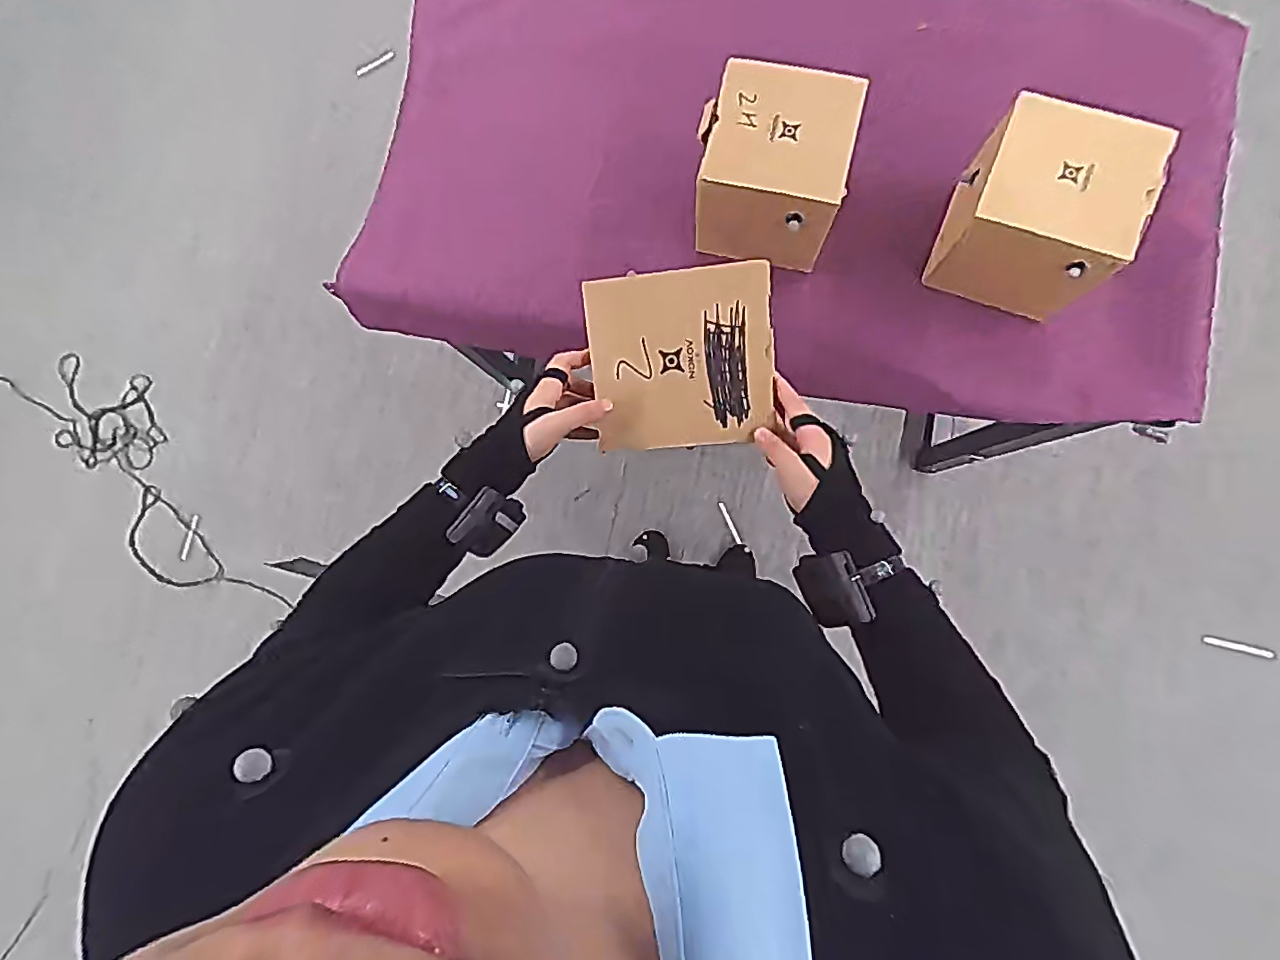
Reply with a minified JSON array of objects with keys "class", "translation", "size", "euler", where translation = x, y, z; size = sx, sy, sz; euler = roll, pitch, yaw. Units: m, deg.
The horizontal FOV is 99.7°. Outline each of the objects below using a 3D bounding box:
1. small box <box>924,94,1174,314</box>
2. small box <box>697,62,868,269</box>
[{"class":"small box","translation":[0.500,-0.338,0.692],"size":[0.179,0.176,0.168],"euler":[21,86,8]},{"class":"small box","translation":[0.180,-0.411,0.734],"size":[0.179,0.176,0.168],"euler":[14,84,7]}]
